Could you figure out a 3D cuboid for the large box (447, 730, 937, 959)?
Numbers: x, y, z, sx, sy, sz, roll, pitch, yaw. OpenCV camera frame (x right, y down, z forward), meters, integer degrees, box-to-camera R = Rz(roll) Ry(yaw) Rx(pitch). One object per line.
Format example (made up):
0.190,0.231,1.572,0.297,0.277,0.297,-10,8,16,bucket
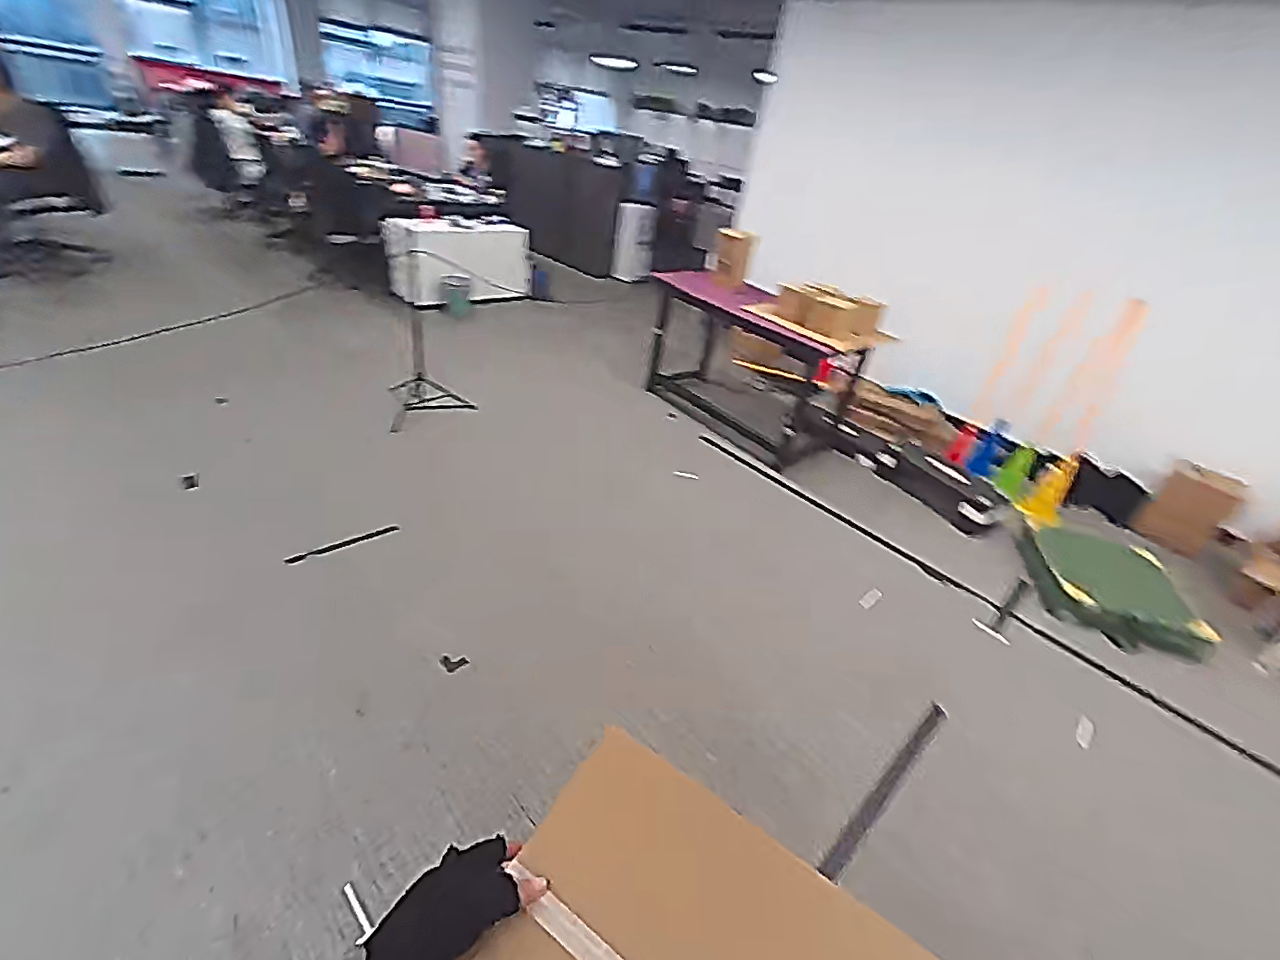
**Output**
0.036,0.539,0.527,0.408,0.320,0.320,28,50,21,large box
